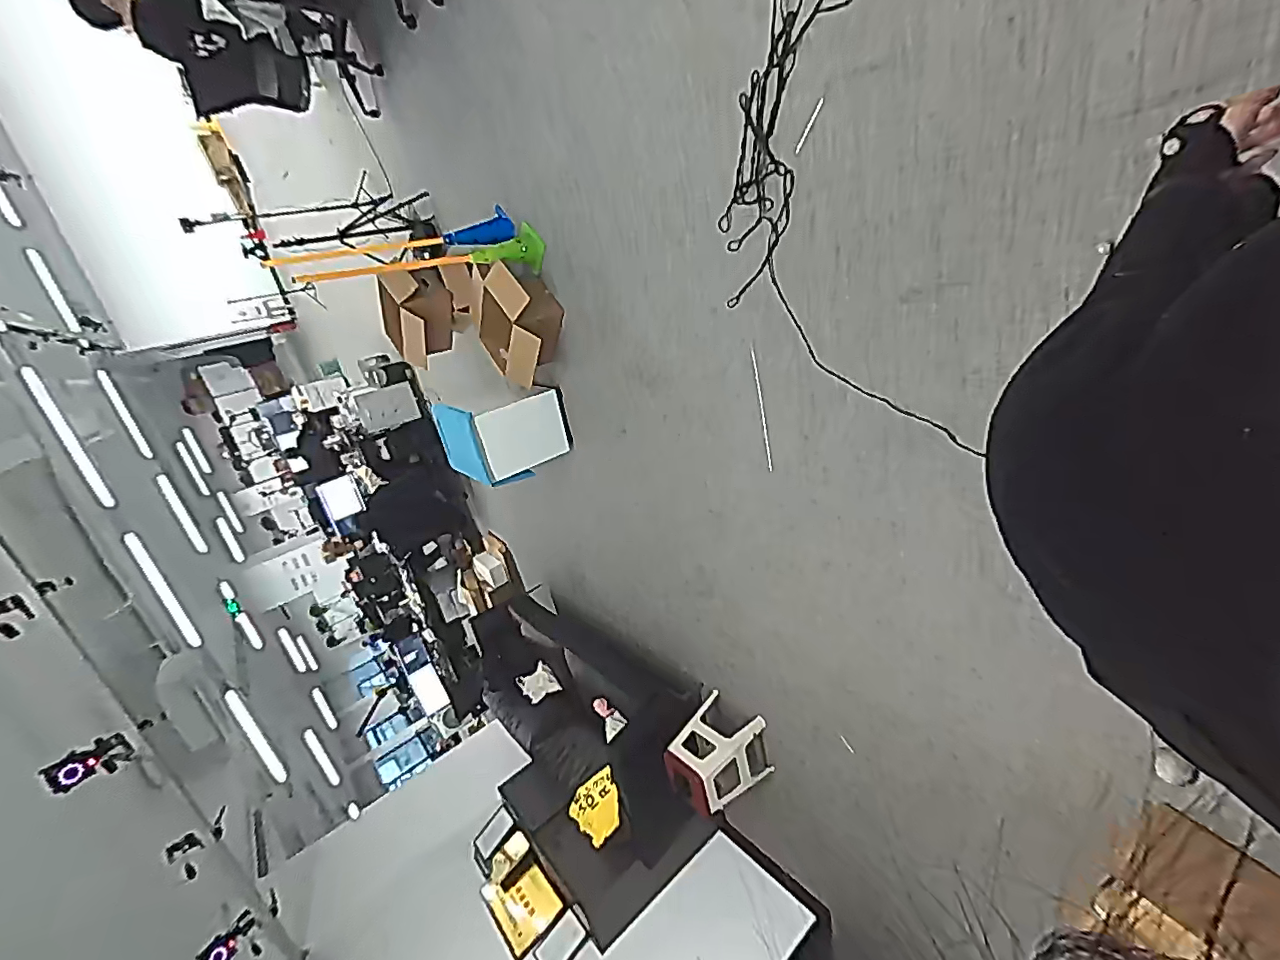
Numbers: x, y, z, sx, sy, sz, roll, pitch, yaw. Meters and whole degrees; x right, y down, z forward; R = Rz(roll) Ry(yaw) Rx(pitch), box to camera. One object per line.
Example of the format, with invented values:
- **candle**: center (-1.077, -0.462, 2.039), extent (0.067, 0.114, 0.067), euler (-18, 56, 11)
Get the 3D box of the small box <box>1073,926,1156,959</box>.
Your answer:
- **small box**: center (1.171, 1.245, 1.313), extent (0.168, 0.176, 0.179), euler (35, 139, 38)
